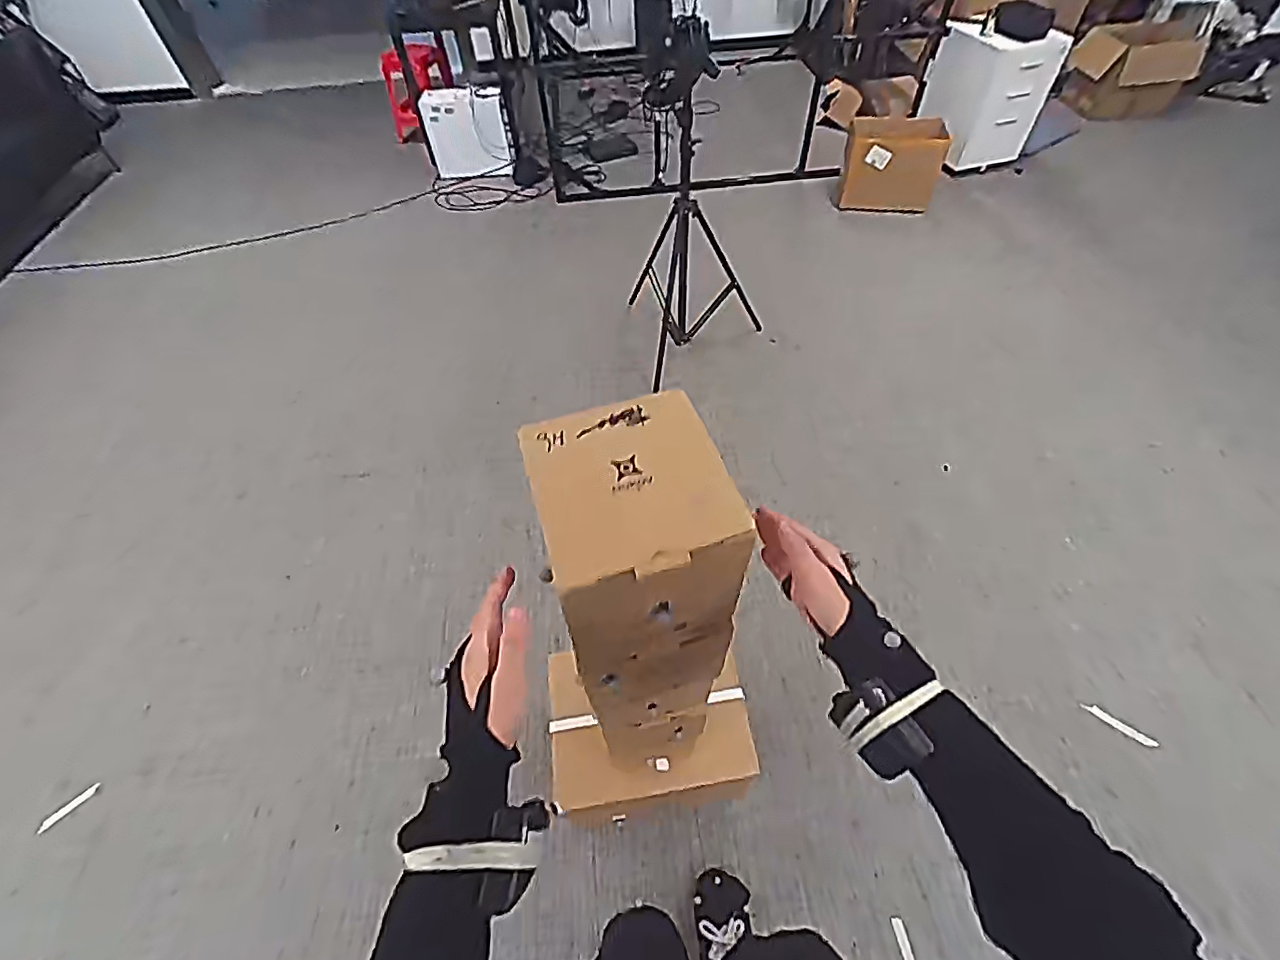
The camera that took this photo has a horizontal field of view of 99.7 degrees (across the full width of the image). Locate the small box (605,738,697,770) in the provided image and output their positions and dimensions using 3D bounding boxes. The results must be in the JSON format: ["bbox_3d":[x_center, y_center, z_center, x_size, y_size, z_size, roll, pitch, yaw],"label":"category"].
[{"bbox_3d":[0.011,0.445,1.055,0.168,0.176,0.179,-9,54,-4],"label":"small box"}]

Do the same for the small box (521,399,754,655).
[{"bbox_3d":[-0.007,0.054,0.530,0.168,0.176,0.179,-15,55,-10],"label":"small box"}]

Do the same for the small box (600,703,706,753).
[{"bbox_3d":[0.011,0.351,0.923,0.168,0.176,0.179,-9,52,-6],"label":"small box"}]

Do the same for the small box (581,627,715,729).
[{"bbox_3d":[0.001,0.249,0.794,0.168,0.176,0.179,-12,54,-8],"label":"small box"}]
